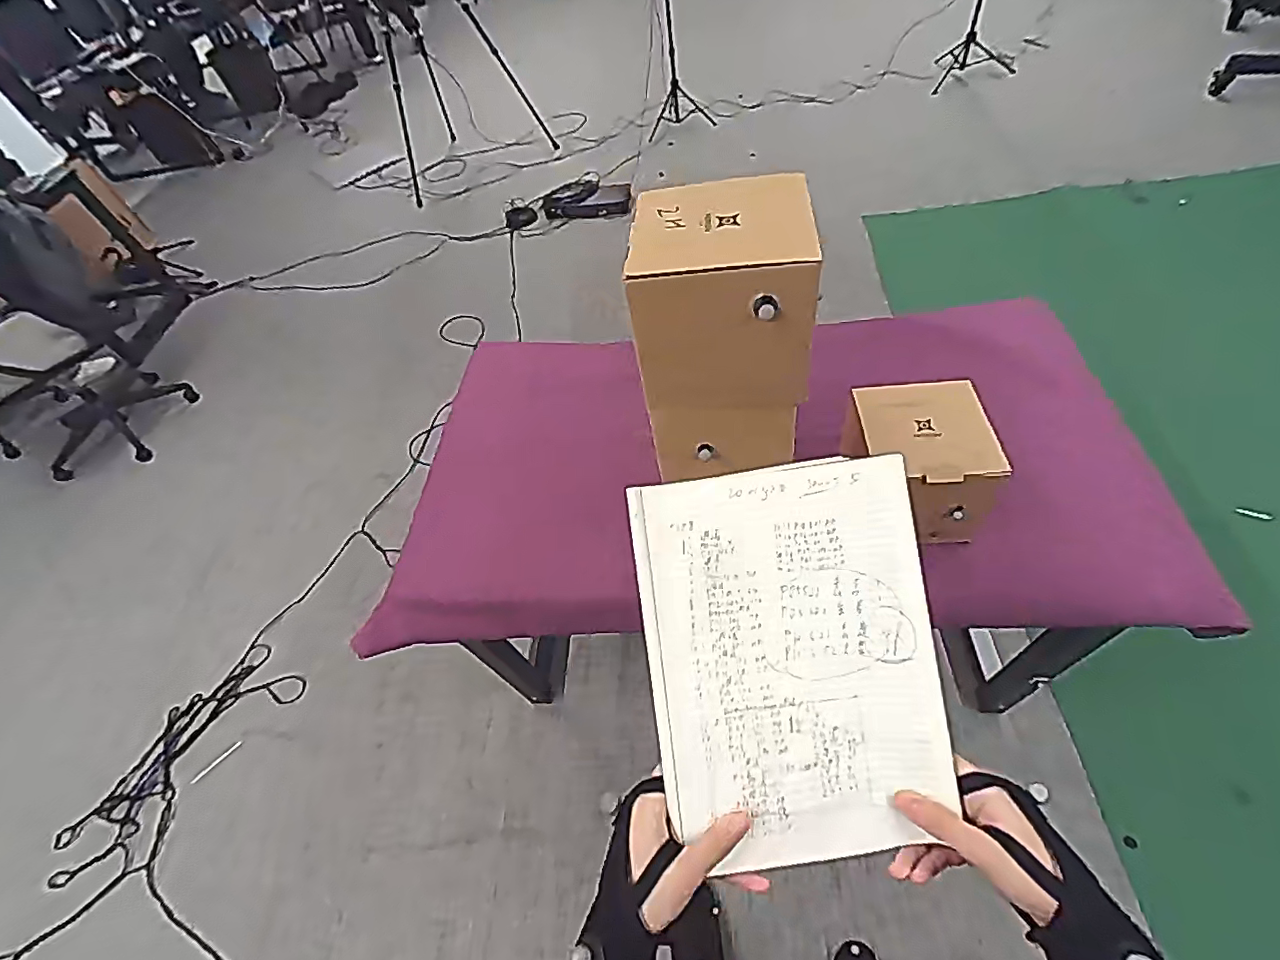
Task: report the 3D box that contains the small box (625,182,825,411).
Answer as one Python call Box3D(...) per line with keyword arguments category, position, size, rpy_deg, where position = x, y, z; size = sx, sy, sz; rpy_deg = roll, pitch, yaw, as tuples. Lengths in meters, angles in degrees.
Box3D(category="small box", position=(0.092, -0.189, 0.581), size=(0.179, 0.176, 0.168), rpy_deg=(-1, 51, 11))

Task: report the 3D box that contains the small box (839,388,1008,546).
Box3D(category="small box", position=(0.403, -0.012, 0.804), size=(0.168, 0.176, 0.179), rpy_deg=(-2, 51, 9))

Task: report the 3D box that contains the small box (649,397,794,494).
Box3D(category="small box", position=(0.109, -0.092, 0.714), size=(0.168, 0.176, 0.179), rpy_deg=(-3, 51, 9))
